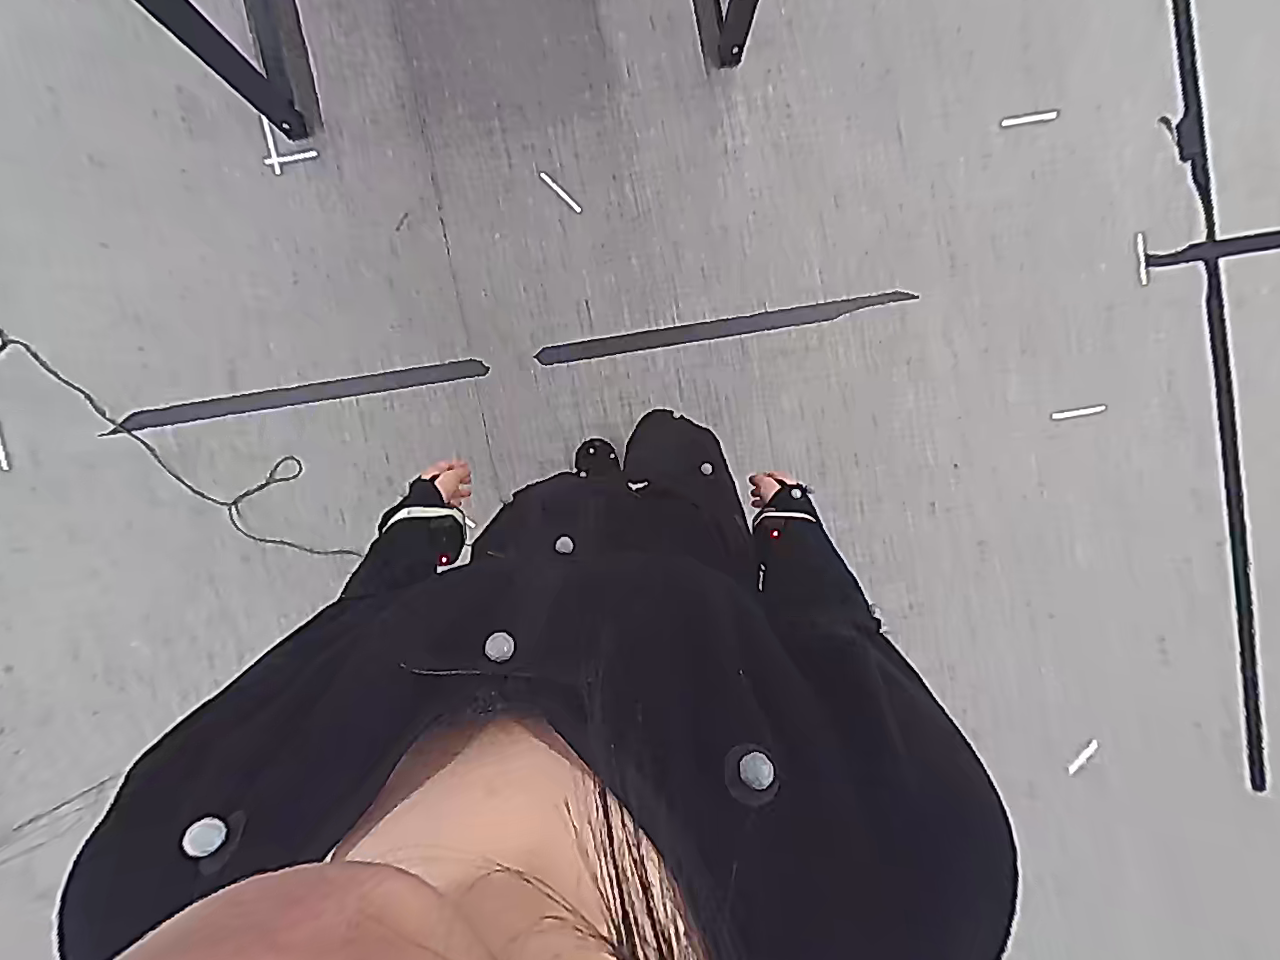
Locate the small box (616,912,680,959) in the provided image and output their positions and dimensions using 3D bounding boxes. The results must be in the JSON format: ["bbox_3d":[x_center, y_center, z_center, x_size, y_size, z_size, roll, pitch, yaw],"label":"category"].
[{"bbox_3d":[0.025,1.367,1.525,0.168,0.176,0.179,-12,95,0],"label":"small box"}]
